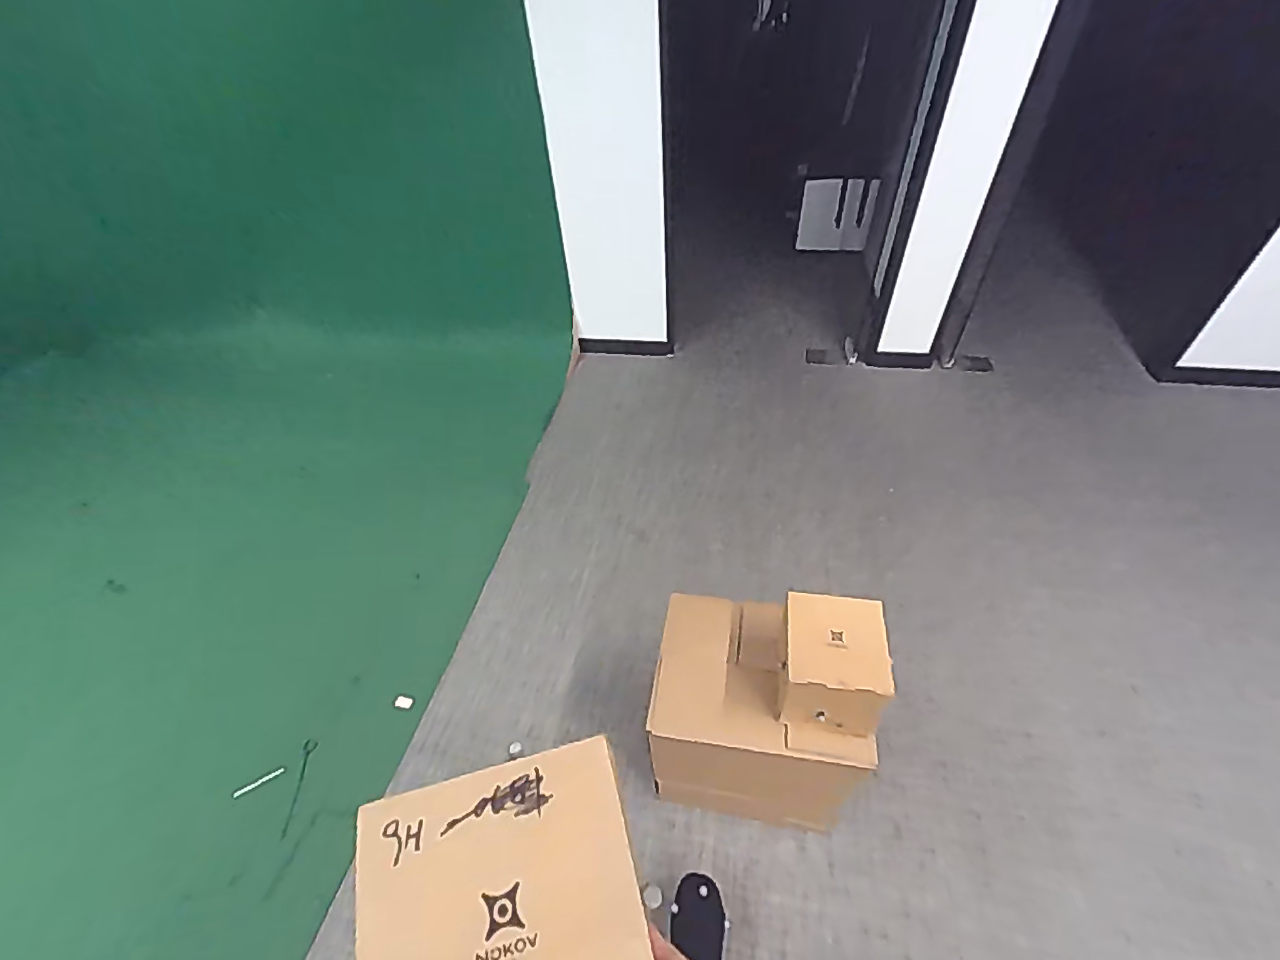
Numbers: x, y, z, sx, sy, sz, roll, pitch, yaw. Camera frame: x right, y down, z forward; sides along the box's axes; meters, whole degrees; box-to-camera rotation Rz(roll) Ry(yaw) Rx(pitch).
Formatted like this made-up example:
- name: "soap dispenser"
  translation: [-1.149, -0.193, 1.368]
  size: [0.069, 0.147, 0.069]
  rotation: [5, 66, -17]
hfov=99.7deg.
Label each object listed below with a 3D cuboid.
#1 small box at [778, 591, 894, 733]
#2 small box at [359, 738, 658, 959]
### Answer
- name: "small box"
  translation: [0.341, 0.327, 0.976]
  size: [0.168, 0.176, 0.179]
  rotation: [4, 46, 11]
- name: "small box"
  translation: [-0.082, 0.304, 0.389]
  size: [0.168, 0.176, 0.179]
  rotation: [-13, 61, -9]
